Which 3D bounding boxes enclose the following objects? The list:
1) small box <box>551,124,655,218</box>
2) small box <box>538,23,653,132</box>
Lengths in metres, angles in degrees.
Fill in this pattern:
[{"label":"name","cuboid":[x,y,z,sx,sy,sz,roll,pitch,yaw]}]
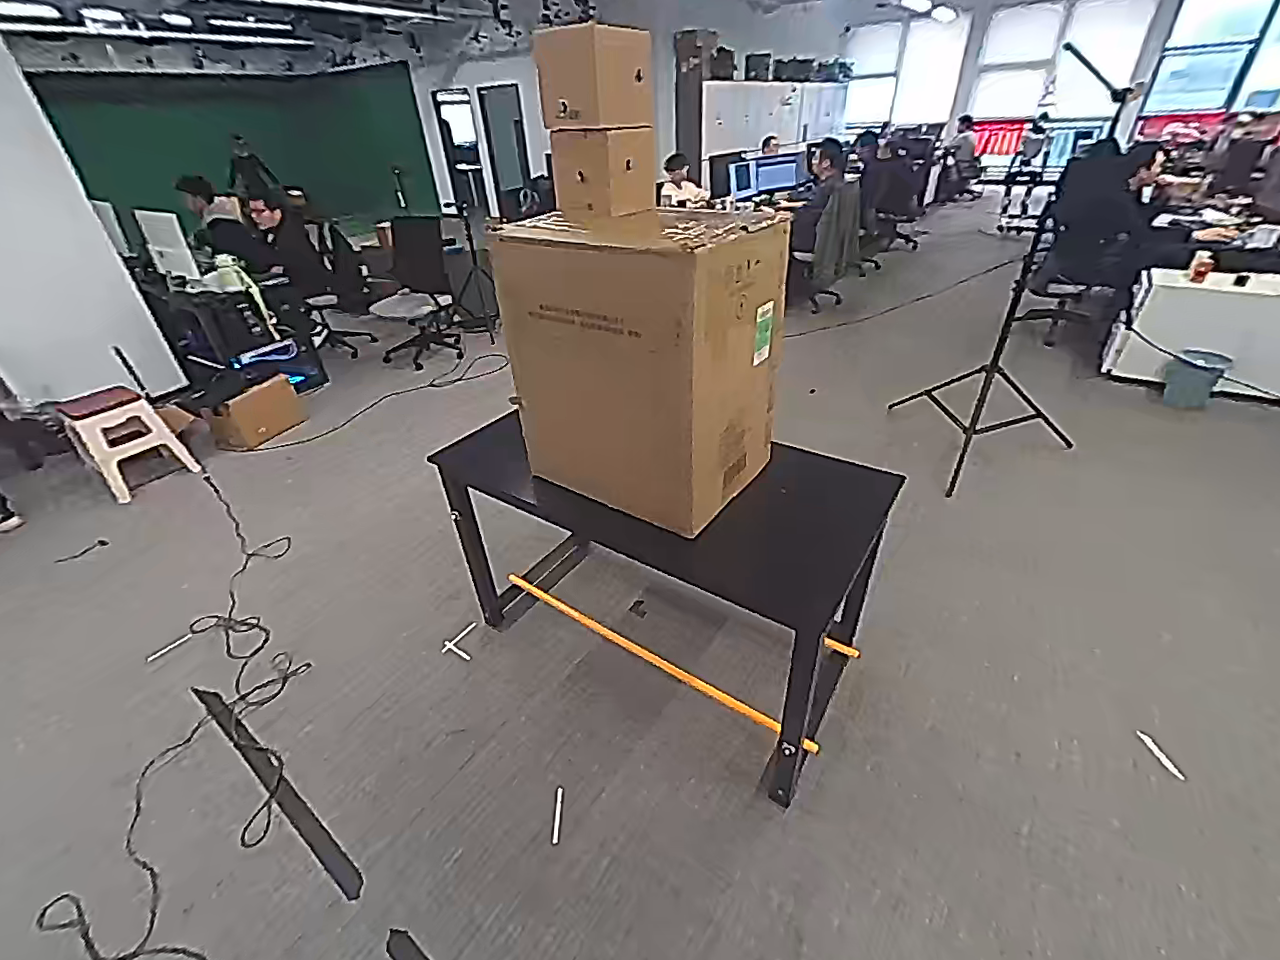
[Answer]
[{"label":"small box","cuboid":[-0.075,-0.704,1.233,0.168,0.176,0.179,21,41,30]},{"label":"small box","cuboid":[-0.088,-0.832,1.130,0.168,0.176,0.179,21,41,32]}]
